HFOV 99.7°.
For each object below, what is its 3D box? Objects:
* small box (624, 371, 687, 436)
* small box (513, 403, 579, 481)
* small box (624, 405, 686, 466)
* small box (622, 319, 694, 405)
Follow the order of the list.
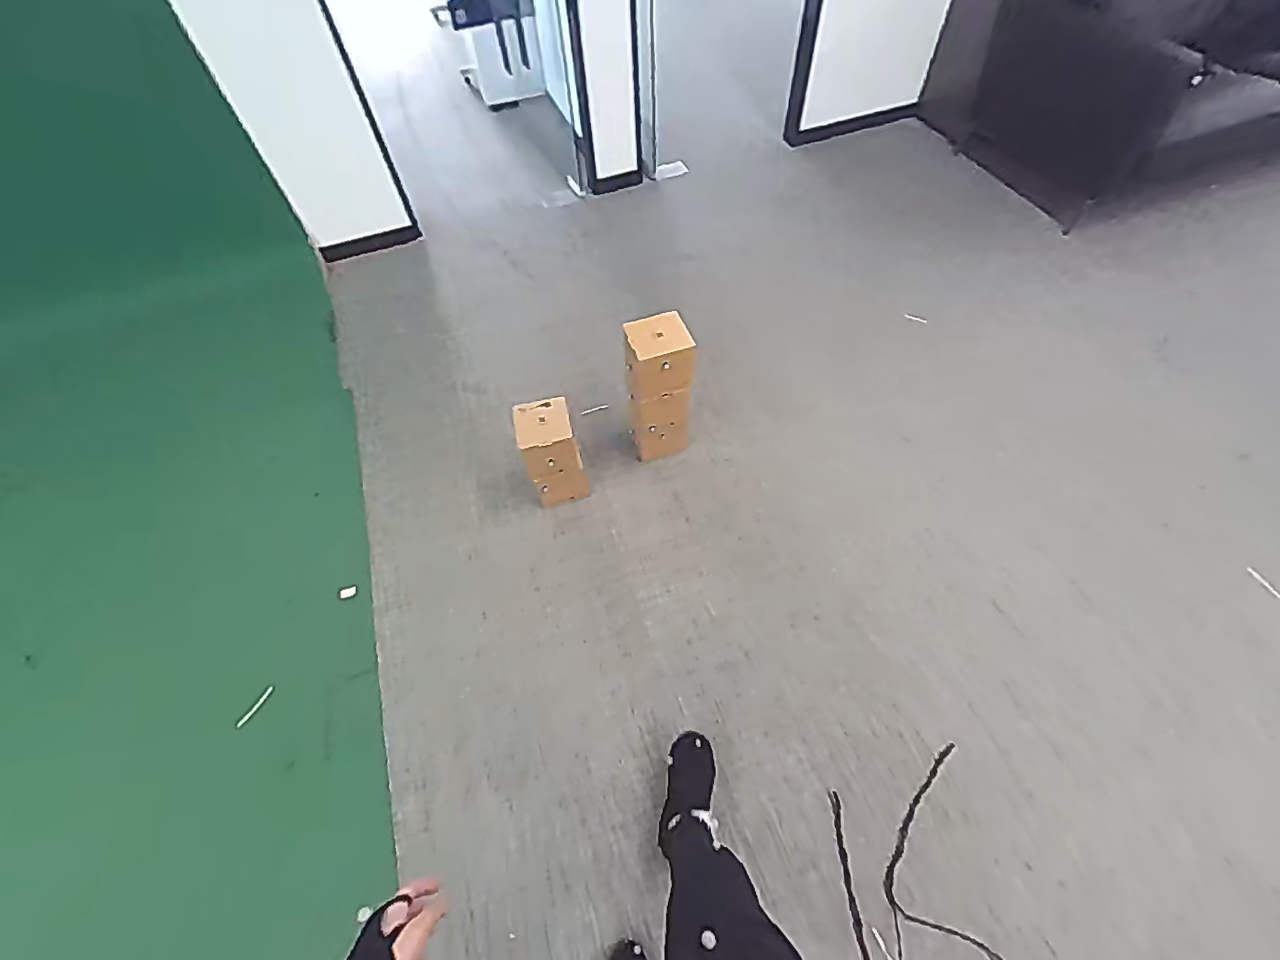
[{"bbox_3d":[0.053,-0.264,1.789,0.168,0.176,0.179,-17,56,-8],"label":"small box"},{"bbox_3d":[-0.294,-0.112,1.704,0.168,0.176,0.179,-12,57,-6],"label":"small box"},{"bbox_3d":[0.056,-0.175,1.926,0.179,0.176,0.168,-18,57,-9],"label":"small box"},{"bbox_3d":[0.054,-0.359,1.656,0.179,0.176,0.168,-18,57,-8],"label":"small box"}]
